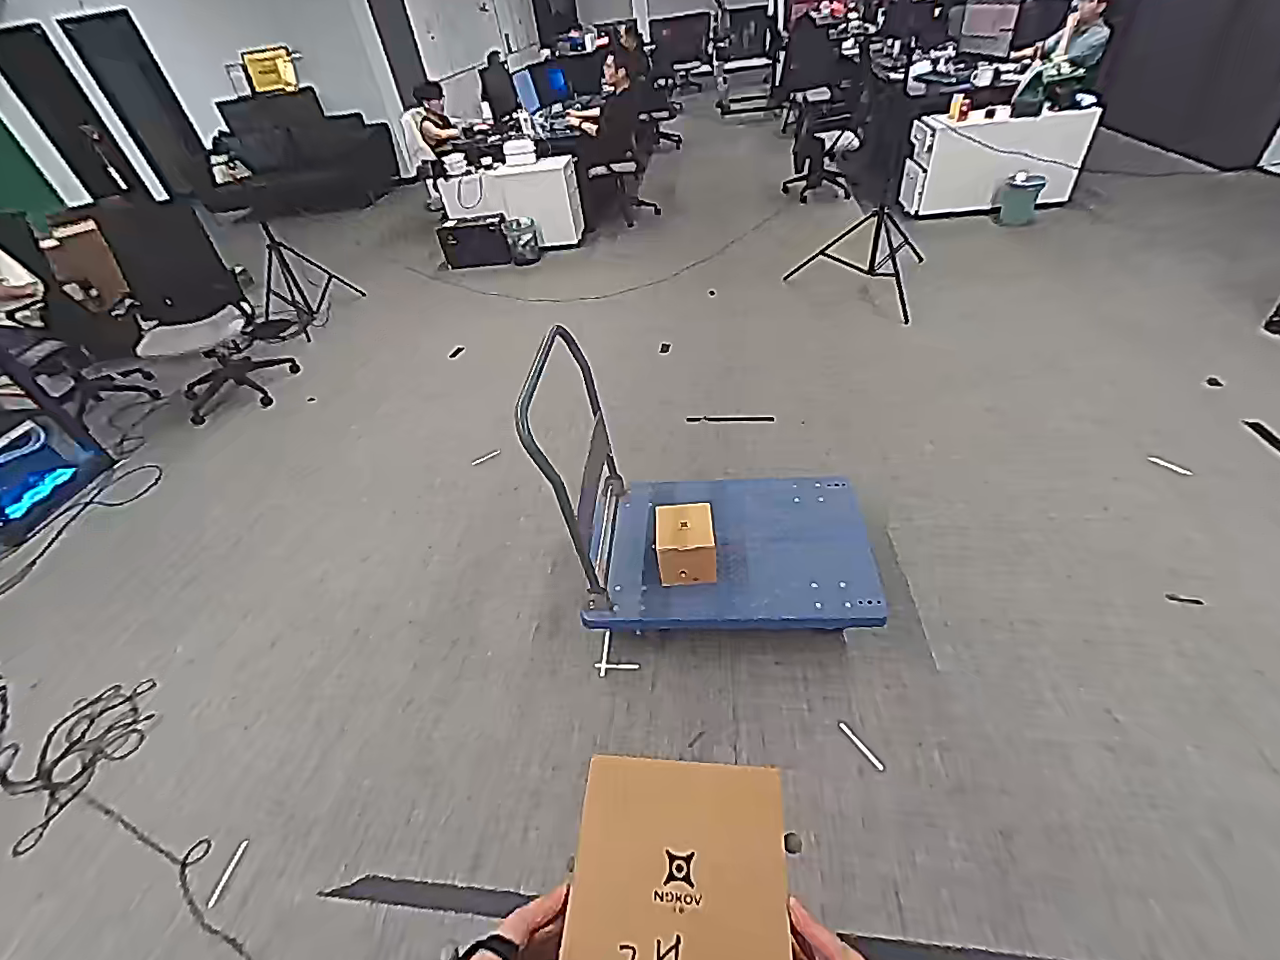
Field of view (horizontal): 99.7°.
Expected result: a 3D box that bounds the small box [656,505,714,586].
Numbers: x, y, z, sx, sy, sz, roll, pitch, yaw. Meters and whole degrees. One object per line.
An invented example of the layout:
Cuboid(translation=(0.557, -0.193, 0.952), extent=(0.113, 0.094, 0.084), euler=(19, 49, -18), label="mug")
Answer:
Cuboid(translation=(0.134, 0.199, 1.628), extent=(0.168, 0.176, 0.179), euler=(-5, 42, 5), label="small box")

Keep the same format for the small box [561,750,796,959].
Cuboid(translation=(0.039, 0.359, 0.464), extent=(0.168, 0.176, 0.179), euler=(-1, 44, 9), label="small box")
